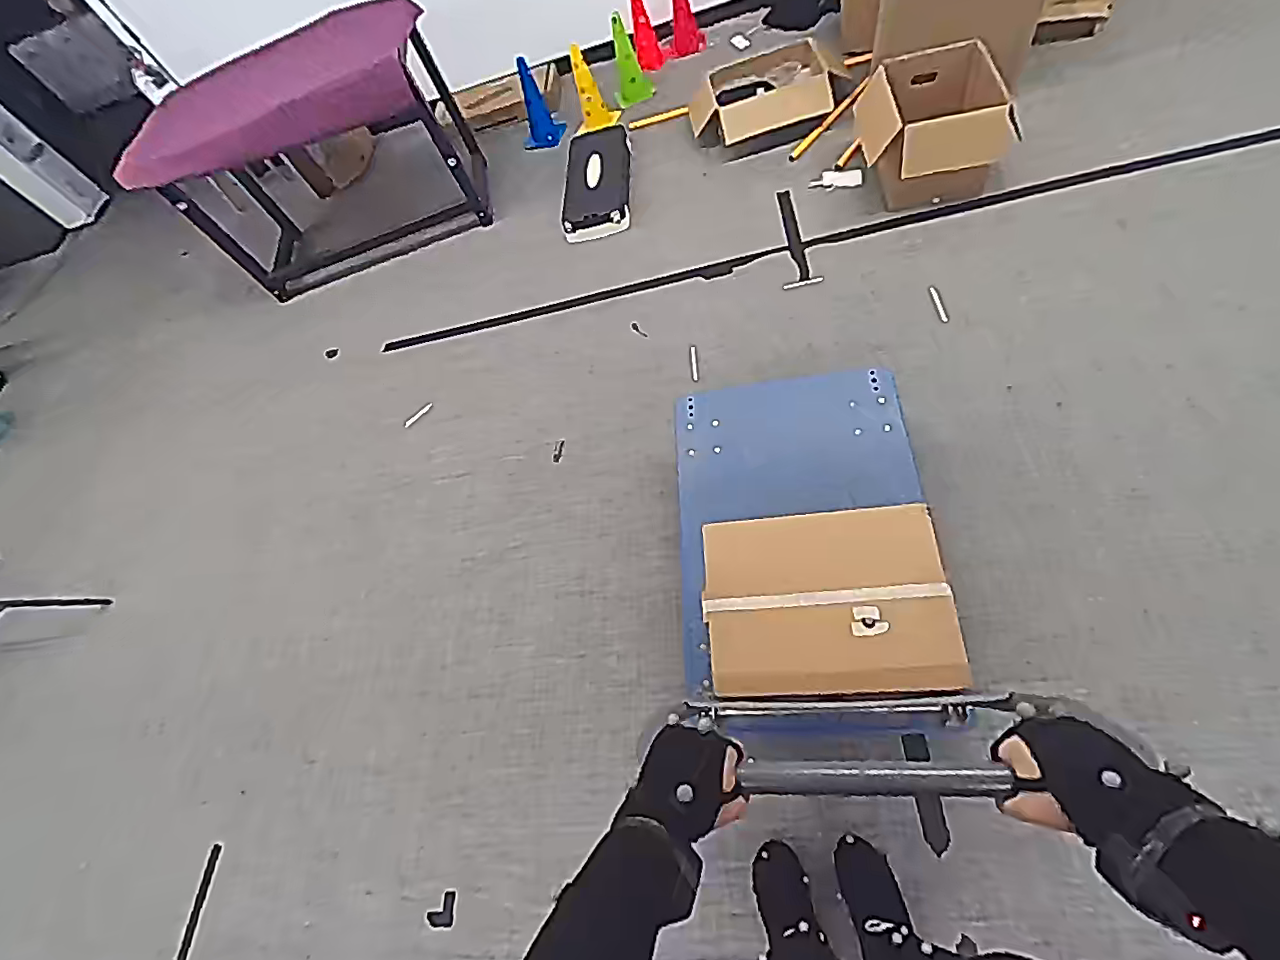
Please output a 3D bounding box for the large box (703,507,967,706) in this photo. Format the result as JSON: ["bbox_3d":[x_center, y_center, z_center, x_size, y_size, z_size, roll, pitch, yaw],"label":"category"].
[{"bbox_3d":[0.354,0.274,1.086,0.408,0.320,0.320,-7,66,11],"label":"large box"}]
